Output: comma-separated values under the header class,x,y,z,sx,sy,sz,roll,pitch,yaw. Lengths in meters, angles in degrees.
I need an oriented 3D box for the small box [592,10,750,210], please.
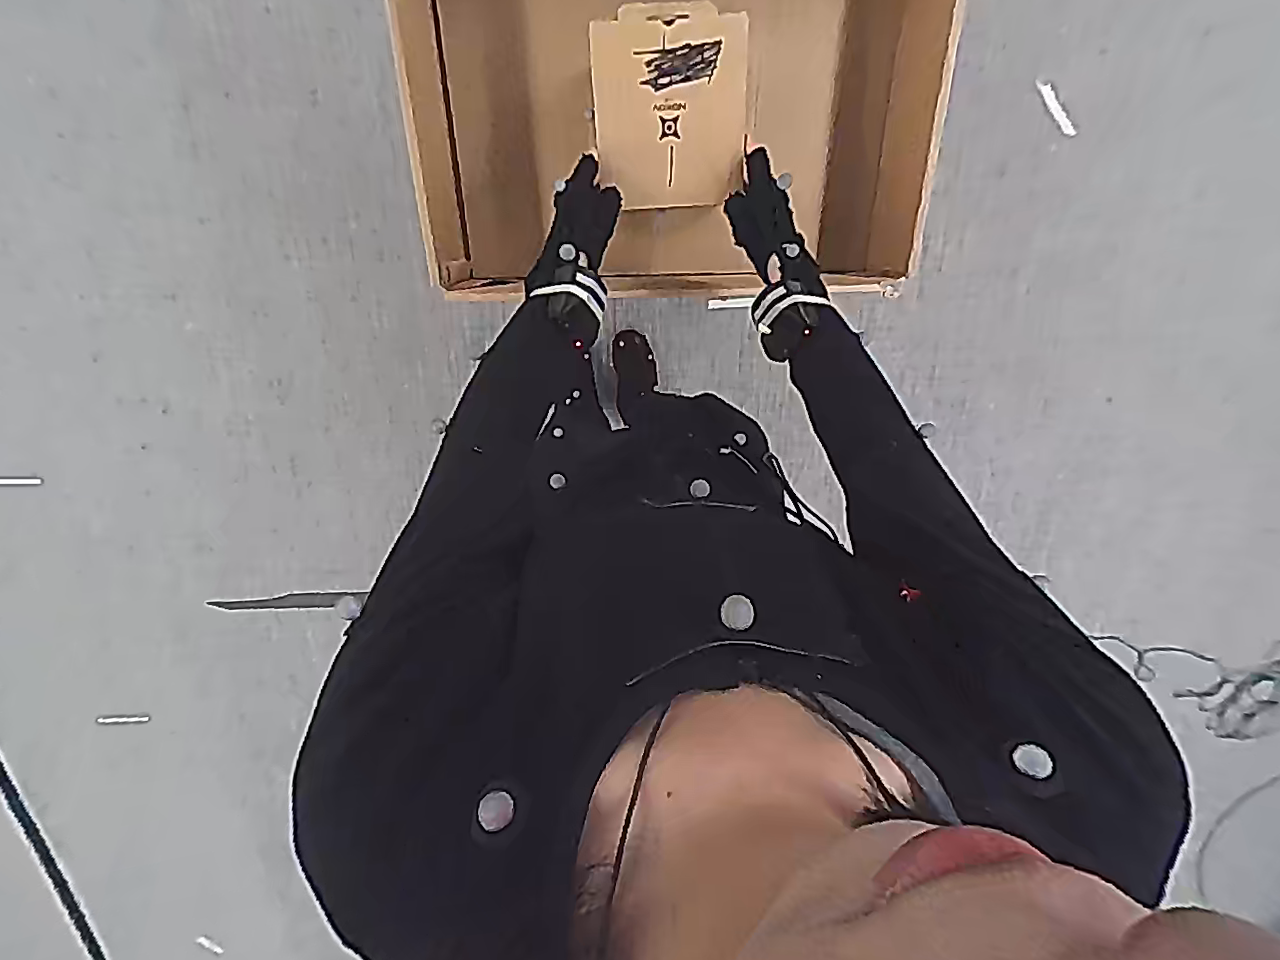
class,x,y,z,sx,sy,sz,roll,pitch,yaw
small box,0.032,-0.428,0.654,0.168,0.176,0.179,-3,117,0
